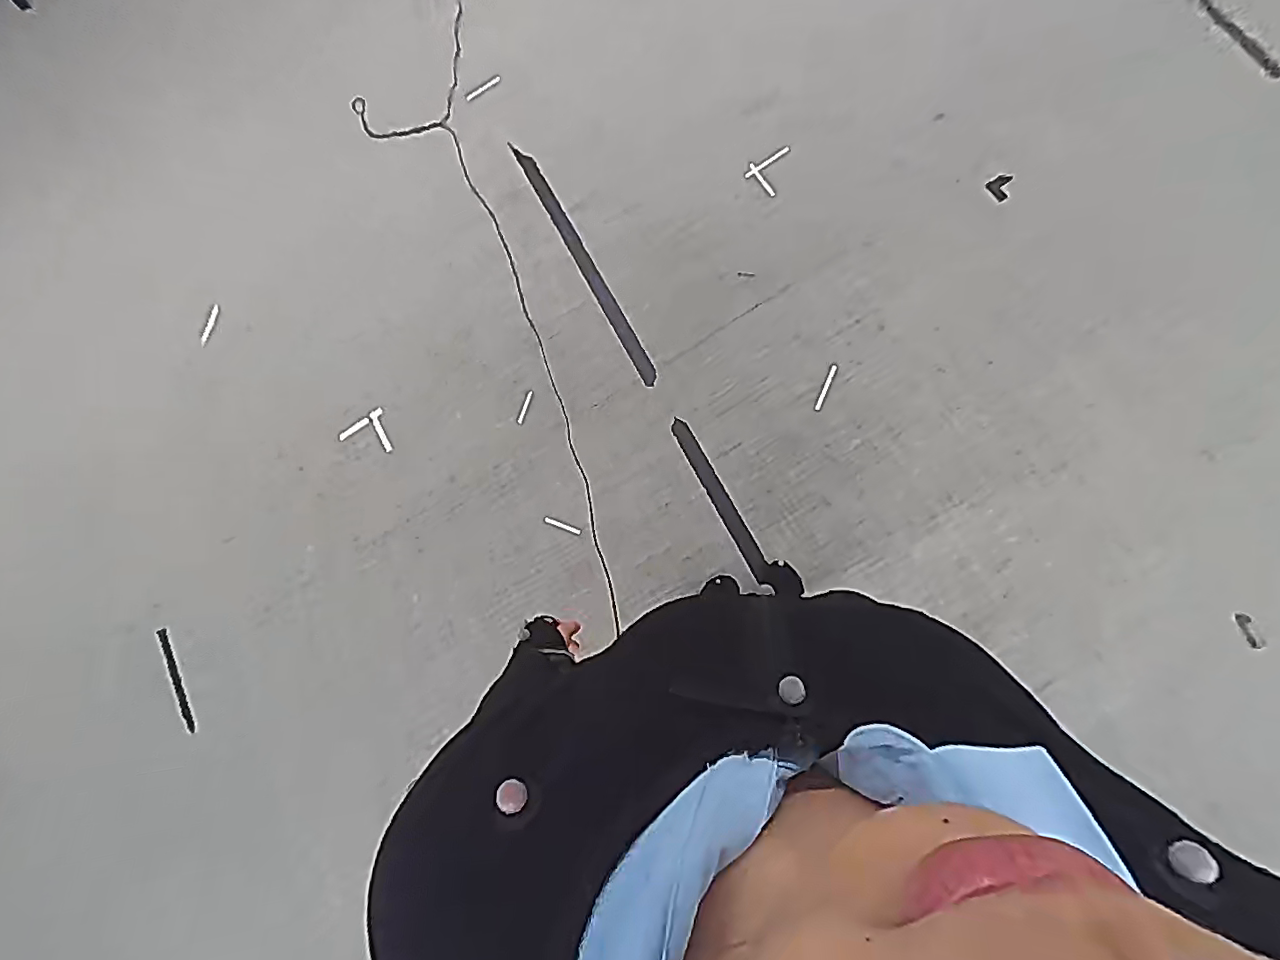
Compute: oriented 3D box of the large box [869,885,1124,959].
[{"bbox_3d":[0.690,1.018,0.949,0.408,0.320,0.320,-25,77,5],"label":"large box"}]
